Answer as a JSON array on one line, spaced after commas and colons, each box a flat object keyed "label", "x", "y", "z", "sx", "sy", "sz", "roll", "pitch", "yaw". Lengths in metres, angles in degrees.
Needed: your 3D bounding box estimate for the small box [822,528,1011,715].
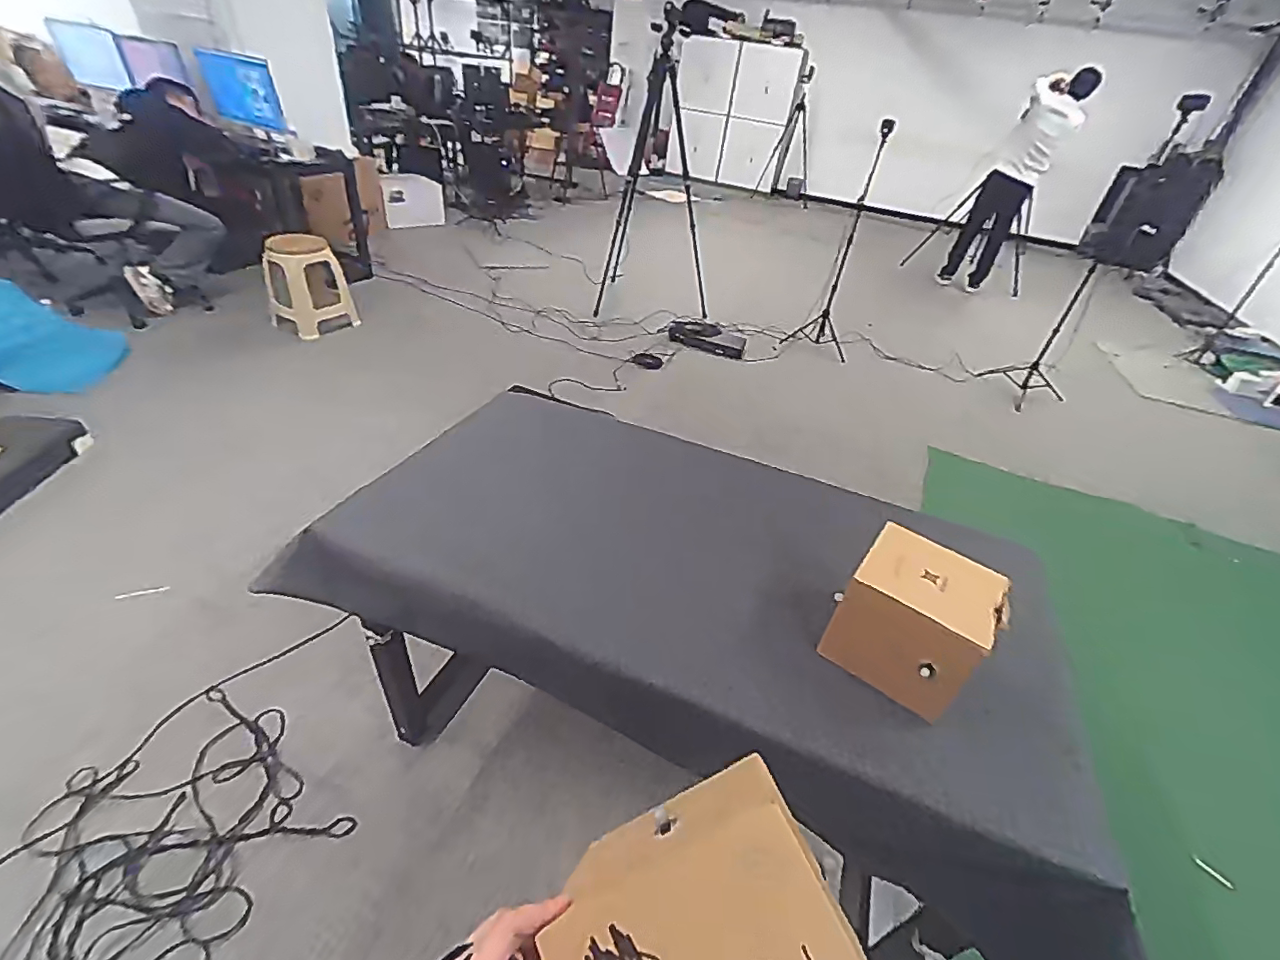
[{"label": "small box", "x": 0.395, "y": 0.207, "z": 0.786, "sx": 0.179, "sy": 0.176, "sz": 0.168, "roll": 28, "pitch": 40, "yaw": 26}]
